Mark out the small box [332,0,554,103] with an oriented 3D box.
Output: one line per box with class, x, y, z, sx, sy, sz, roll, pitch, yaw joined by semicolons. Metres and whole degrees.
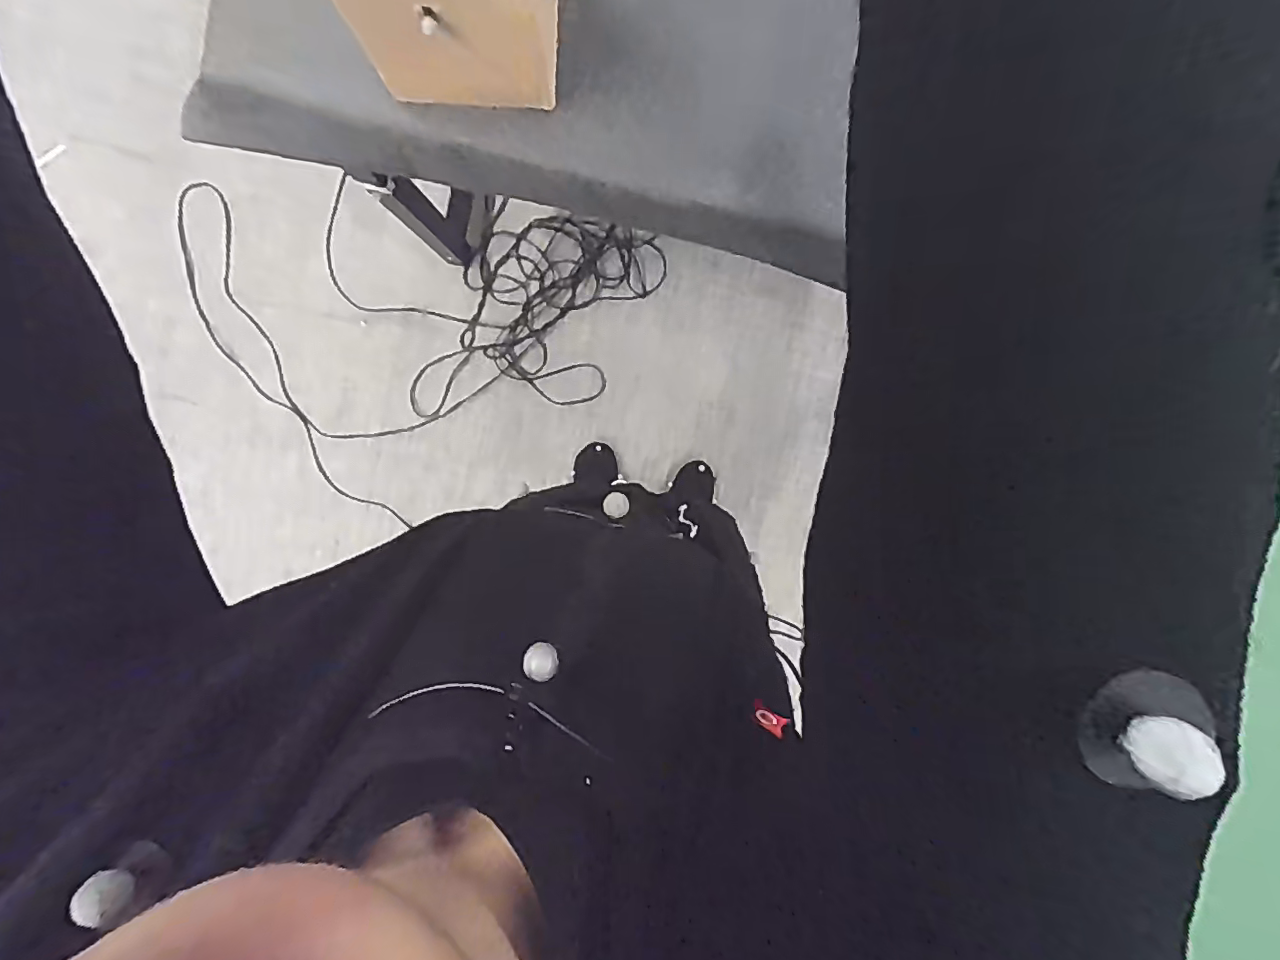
small box;-0.173;-0.485;0.501;0.179;0.176;0.168;2;95;-2
